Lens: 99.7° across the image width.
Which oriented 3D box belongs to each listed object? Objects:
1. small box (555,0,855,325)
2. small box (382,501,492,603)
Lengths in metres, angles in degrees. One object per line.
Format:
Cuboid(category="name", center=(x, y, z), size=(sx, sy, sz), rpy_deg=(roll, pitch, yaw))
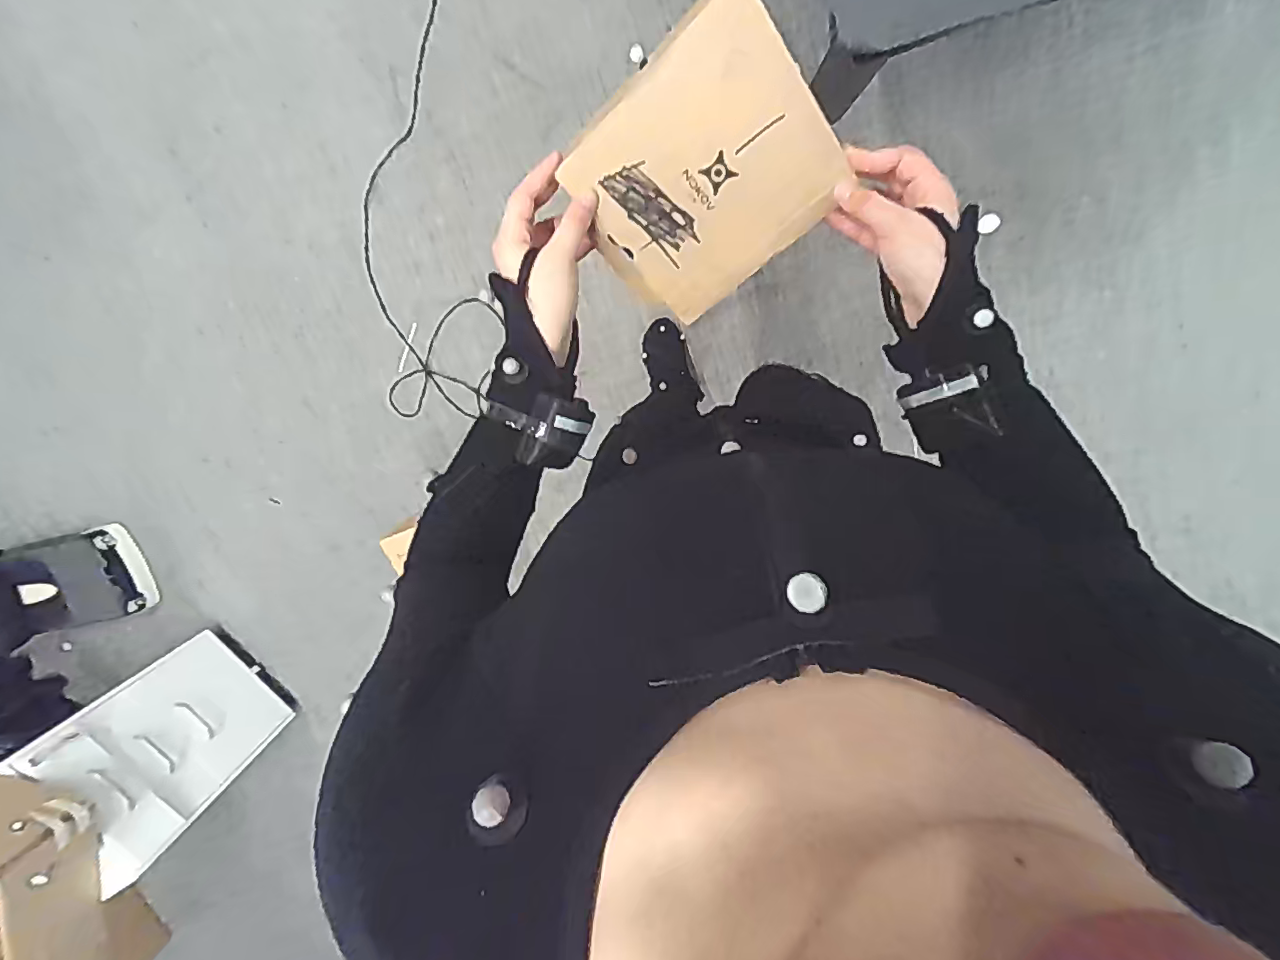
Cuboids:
Cuboid(category="small box", center=(0.051, -0.278, 0.477), size=(0.179, 0.176, 0.168), rpy_deg=(-35, 122, 25))
Cuboid(category="small box", center=(-0.488, 0.170, 1.337), size=(0.179, 0.176, 0.168), rpy_deg=(-22, 104, 11))
